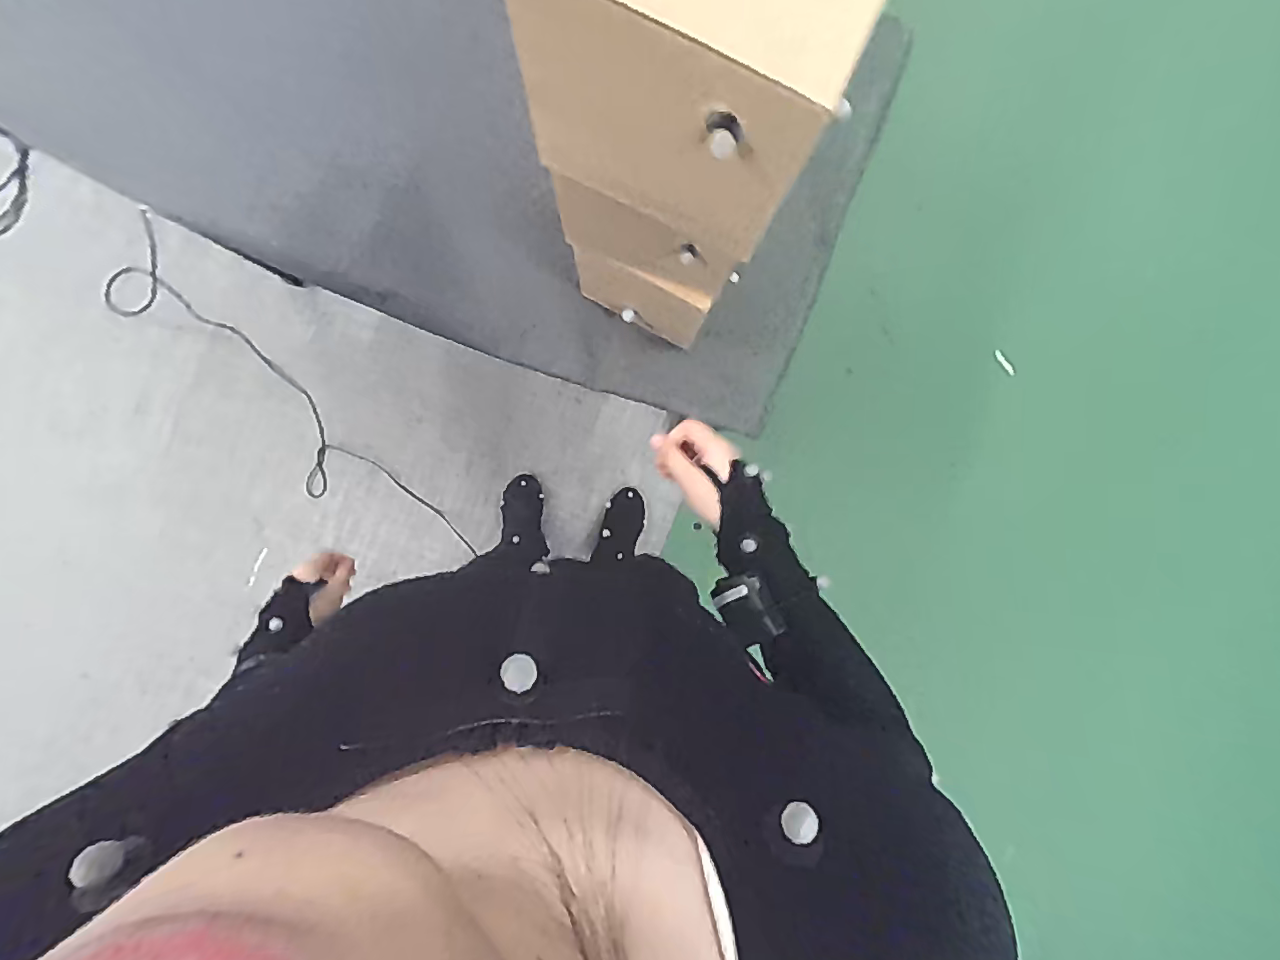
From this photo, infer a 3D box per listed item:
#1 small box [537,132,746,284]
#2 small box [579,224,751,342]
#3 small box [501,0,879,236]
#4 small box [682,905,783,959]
[{"bbox_3d":[0.029,-0.302,0.490,0.179,0.176,0.168,20,87,0],"label":"small box"},{"bbox_3d":[0.033,-0.296,0.652,0.168,0.176,0.179,28,89,-1],"label":"small box"},{"bbox_3d":[0.039,-0.279,0.325,0.179,0.176,0.168,26,87,-1],"label":"small box"},{"bbox_3d":[0.190,1.026,1.096,0.168,0.176,0.179,25,90,-2],"label":"small box"}]
